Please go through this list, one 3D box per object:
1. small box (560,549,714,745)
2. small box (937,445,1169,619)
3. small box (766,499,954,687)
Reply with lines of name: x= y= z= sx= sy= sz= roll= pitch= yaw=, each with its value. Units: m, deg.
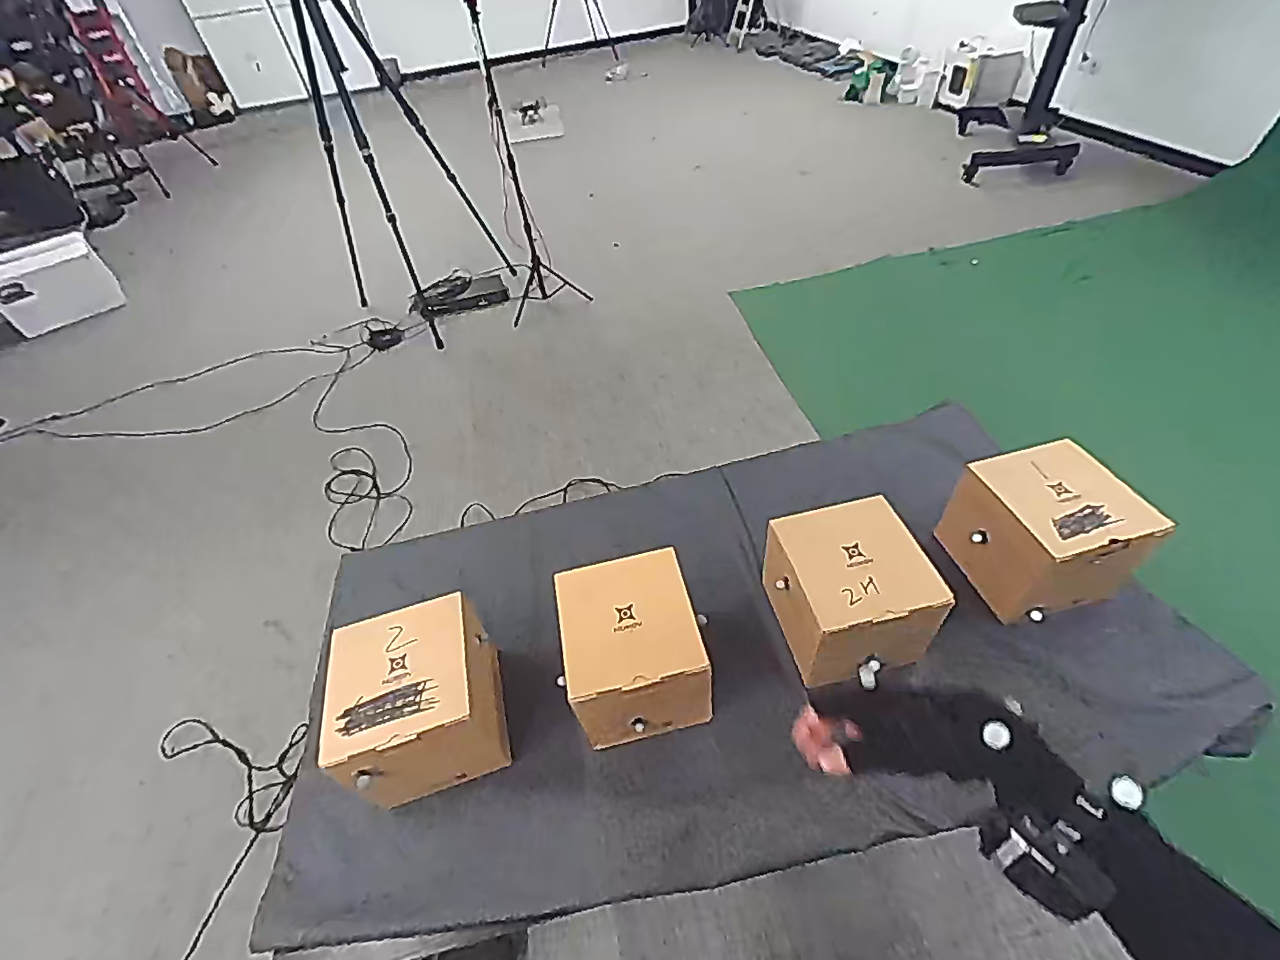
small box: x=-0.007 y=0.223 z=0.722 sx=0.168 sy=0.176 sz=0.179 roll=-12 pitch=48 yaw=-5
small box: x=0.571 y=0.081 z=0.780 sx=0.168 sy=0.176 sz=0.179 roll=-13 pitch=47 yaw=-5
small box: x=0.283 y=0.157 z=0.746 sx=0.168 sy=0.176 sz=0.179 roll=-12 pitch=47 yaw=-4
